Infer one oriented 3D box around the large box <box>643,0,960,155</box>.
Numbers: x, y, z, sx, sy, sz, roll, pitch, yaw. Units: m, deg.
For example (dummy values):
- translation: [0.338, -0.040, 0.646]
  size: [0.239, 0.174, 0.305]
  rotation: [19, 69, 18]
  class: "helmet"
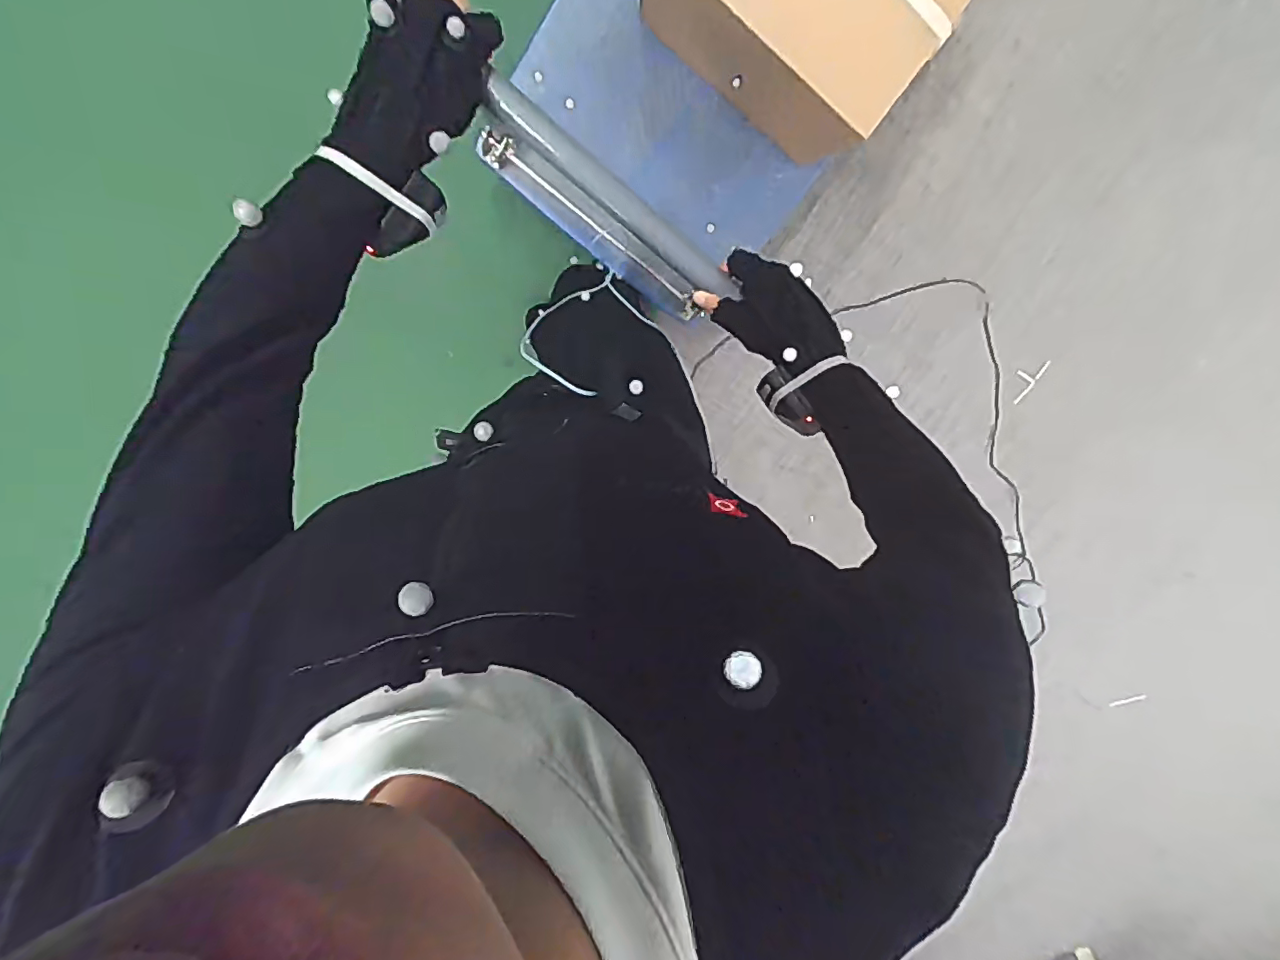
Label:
- translation: [0.254, -0.792, 0.840]
  size: [0.408, 0.320, 0.320]
  rotation: [33, 108, -15]
  class: "large box"
